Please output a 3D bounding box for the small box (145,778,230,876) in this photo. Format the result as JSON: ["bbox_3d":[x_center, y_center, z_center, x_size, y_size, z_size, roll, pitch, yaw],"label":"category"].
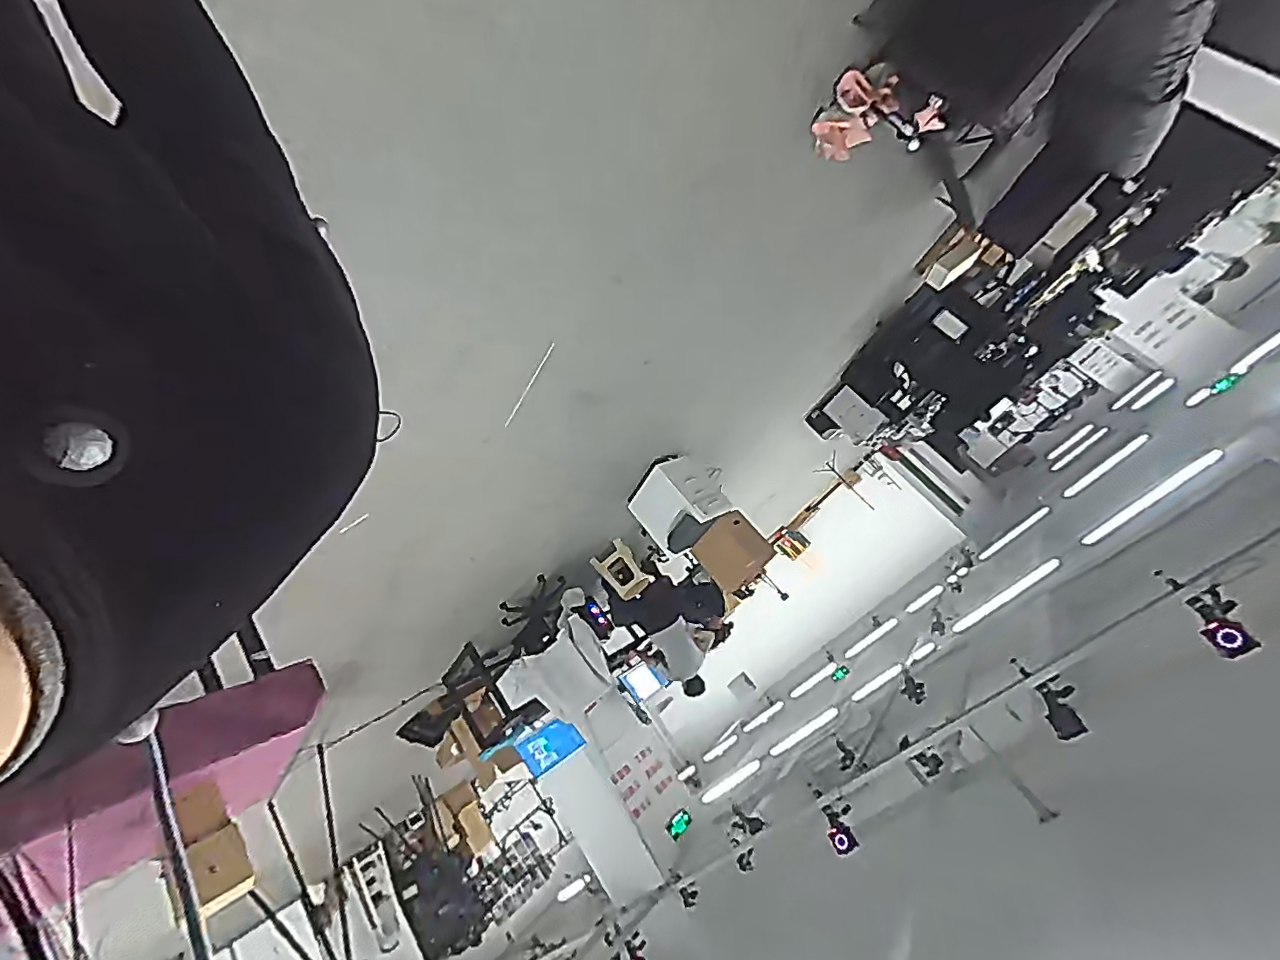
[{"bbox_3d":[-1.370,1.041,1.635,0.168,0.176,0.179,-14,148,-48],"label":"small box"}]

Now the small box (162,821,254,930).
[{"bbox_3d":[-1.257,1.141,1.568,0.179,0.176,0.168,-15,149,-48],"label":"small box"}]
